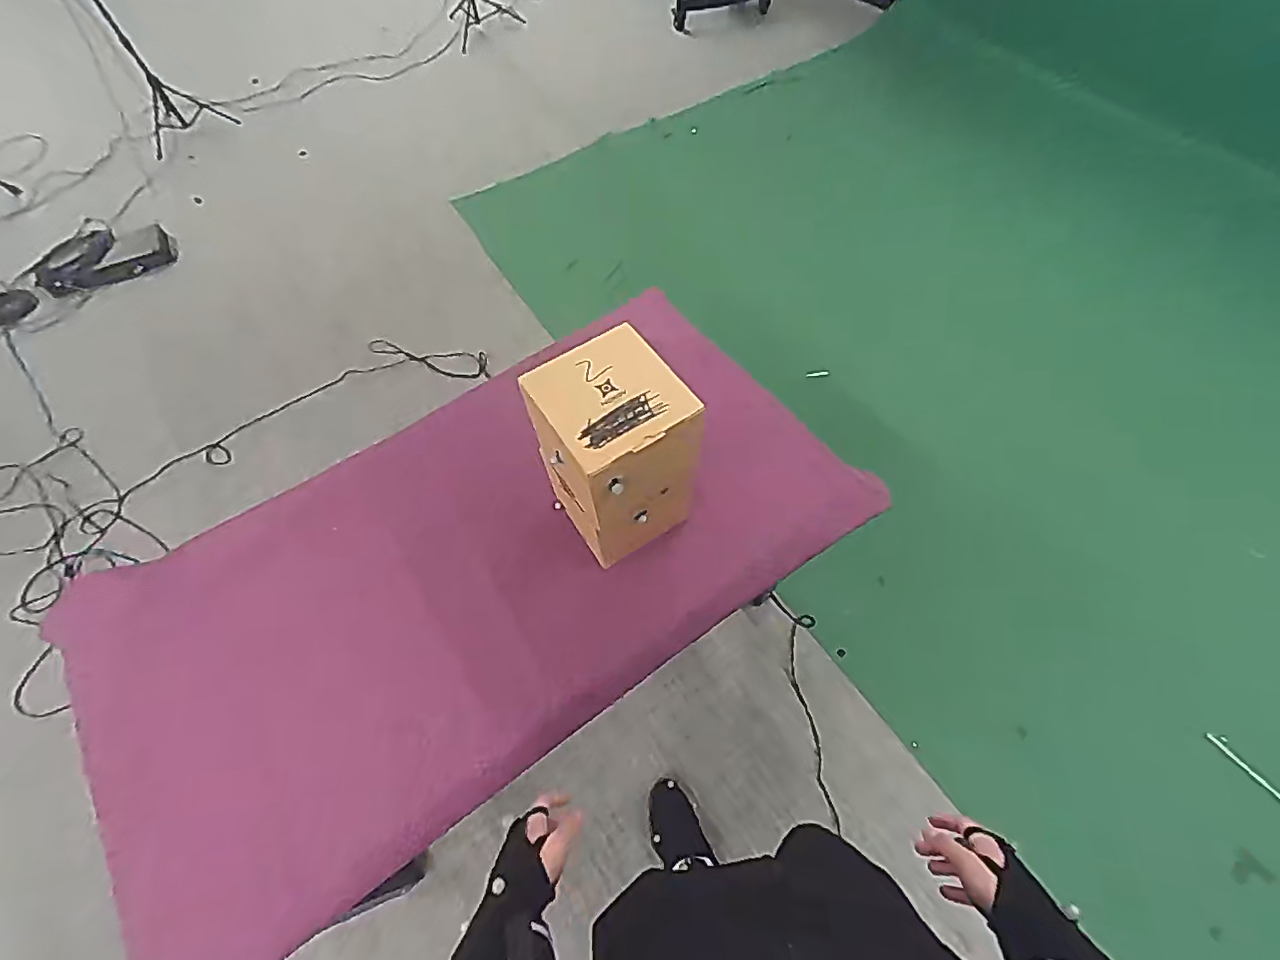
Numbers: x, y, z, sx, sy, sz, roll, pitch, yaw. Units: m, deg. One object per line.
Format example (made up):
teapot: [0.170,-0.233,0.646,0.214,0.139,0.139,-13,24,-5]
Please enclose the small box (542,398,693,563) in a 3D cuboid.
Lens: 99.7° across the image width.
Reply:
small box: [-0.032,0.008,0.874,0.179,0.176,0.168,-30,65,-15]
